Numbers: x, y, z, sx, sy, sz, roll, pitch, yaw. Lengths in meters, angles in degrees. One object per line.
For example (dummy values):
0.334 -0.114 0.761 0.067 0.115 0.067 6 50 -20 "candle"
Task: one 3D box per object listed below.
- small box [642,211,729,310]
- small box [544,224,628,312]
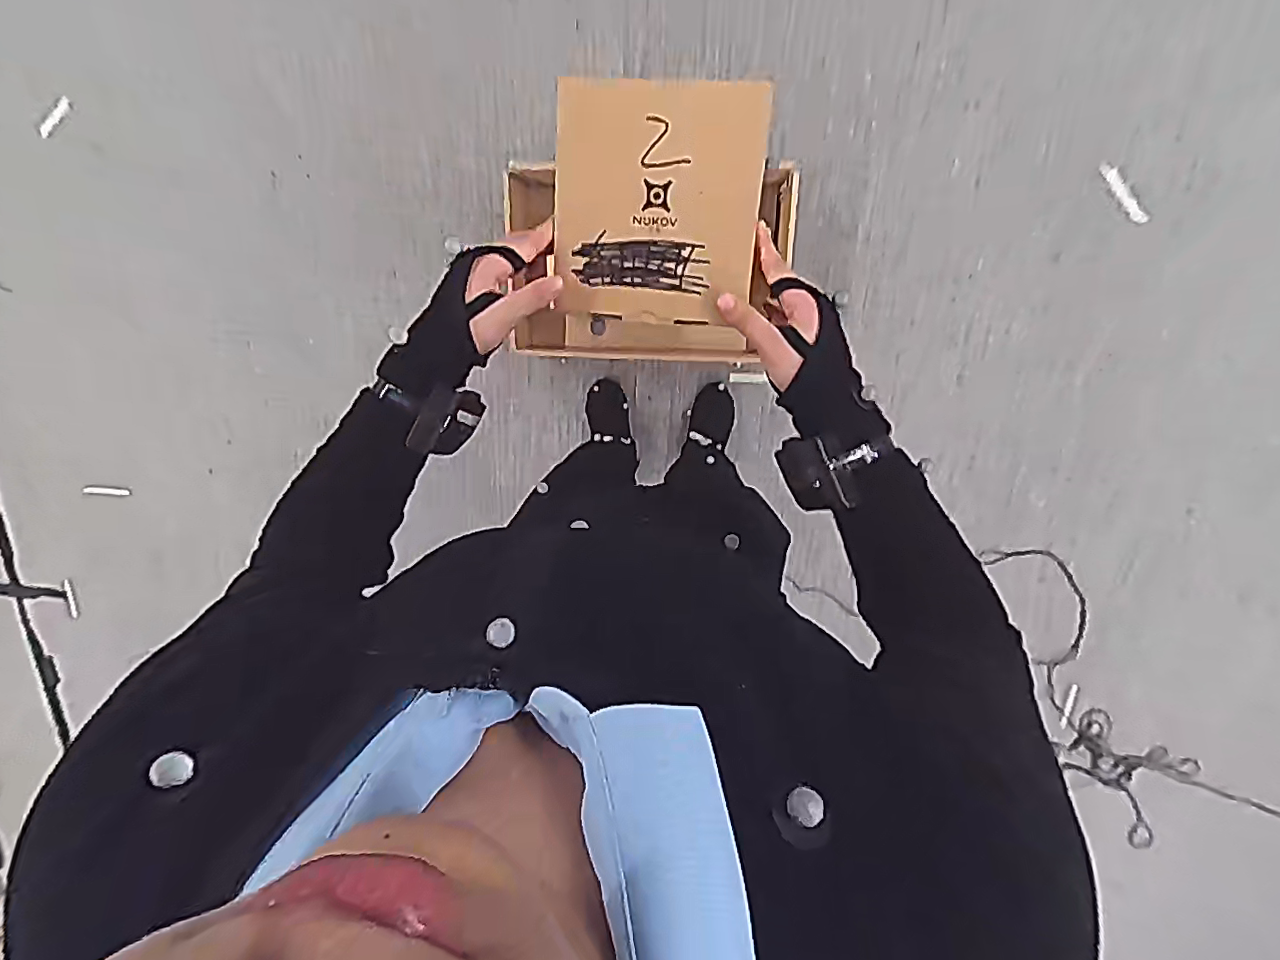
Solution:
0.101 -0.484 1.213 0.168 0.176 0.179 8 106 4 "small box"
-0.116 -0.475 1.233 0.168 0.176 0.179 1 105 3 "small box"
